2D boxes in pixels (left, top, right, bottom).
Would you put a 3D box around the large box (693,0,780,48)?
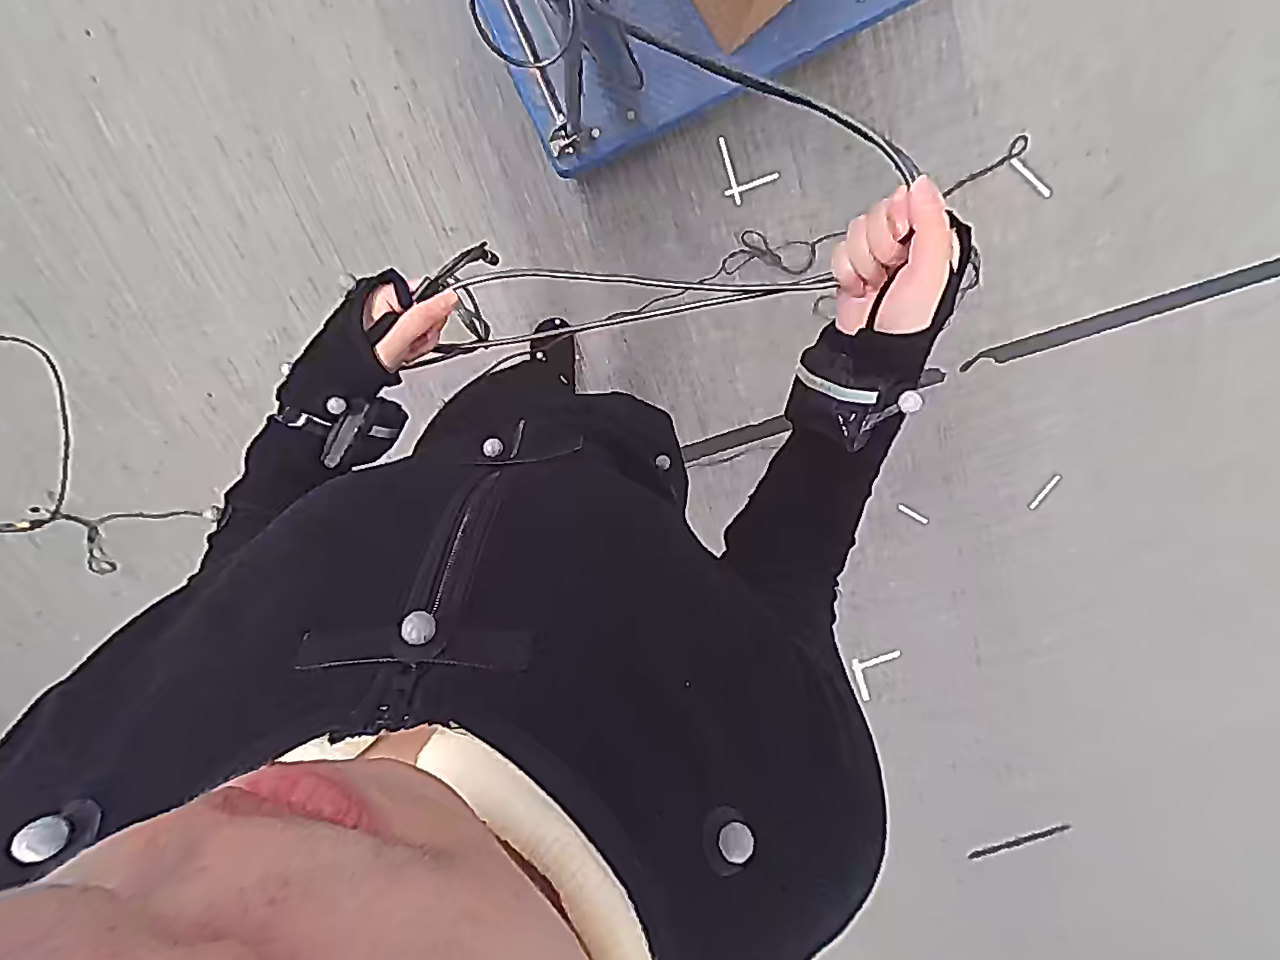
[{"bbox_3d":[0.170,-1.036,0.851,0.320,0.320,0.408,-38,107,10],"label":"large box"}]
